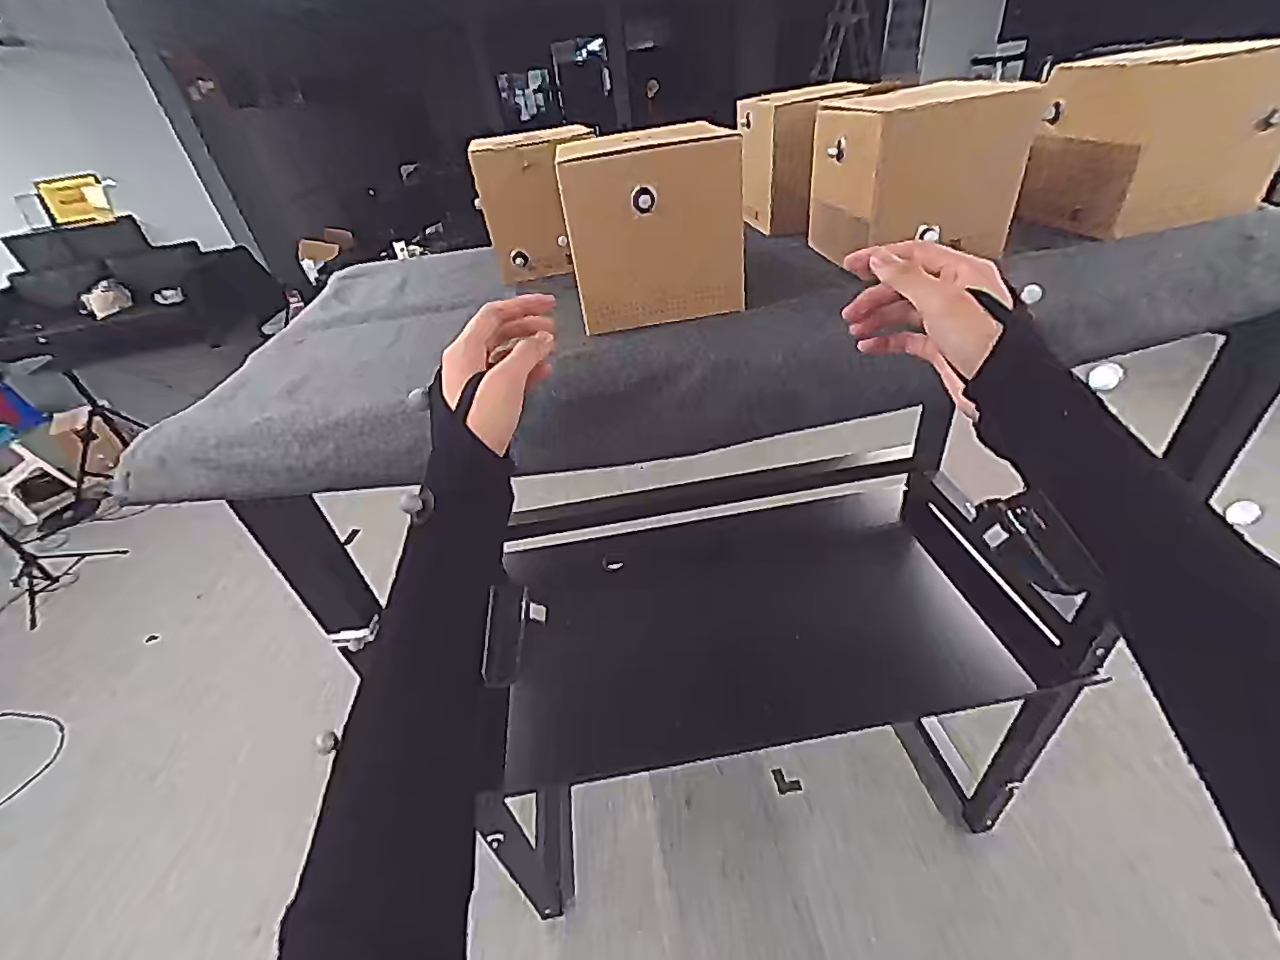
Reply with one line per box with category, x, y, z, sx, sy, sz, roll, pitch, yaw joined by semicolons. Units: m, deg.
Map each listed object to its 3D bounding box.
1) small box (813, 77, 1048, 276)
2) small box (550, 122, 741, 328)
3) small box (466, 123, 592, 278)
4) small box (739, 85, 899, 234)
small box;0.311;-0.350;0.628;0.168;0.176;0.179;-10;36;0
small box;0.007;-0.279;0.593;0.179;0.176;0.168;-9;37;-1
small box;-0.144;-0.407;0.792;0.168;0.176;0.179;-12;37;-5
small box;0.255;-0.486;0.818;0.179;0.176;0.168;-10;36;-3
